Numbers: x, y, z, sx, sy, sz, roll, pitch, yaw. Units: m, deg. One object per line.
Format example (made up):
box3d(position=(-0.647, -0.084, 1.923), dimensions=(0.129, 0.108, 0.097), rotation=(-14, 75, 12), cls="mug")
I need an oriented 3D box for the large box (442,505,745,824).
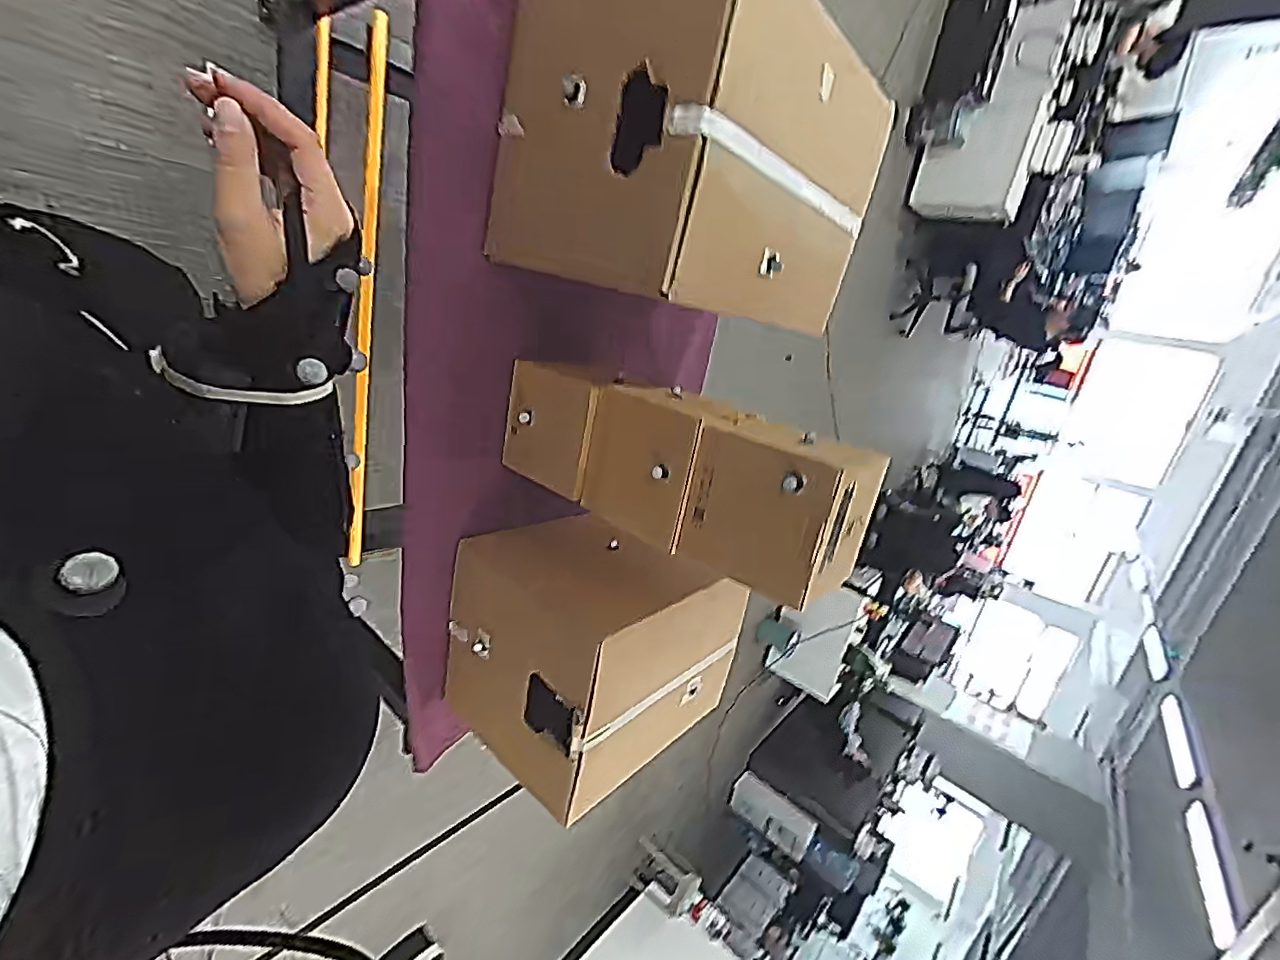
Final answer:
box3d(position=(-0.077, 0.261, 0.931), dimensions=(0.408, 0.320, 0.320), rotation=(-10, 118, -51), cls="large box")
